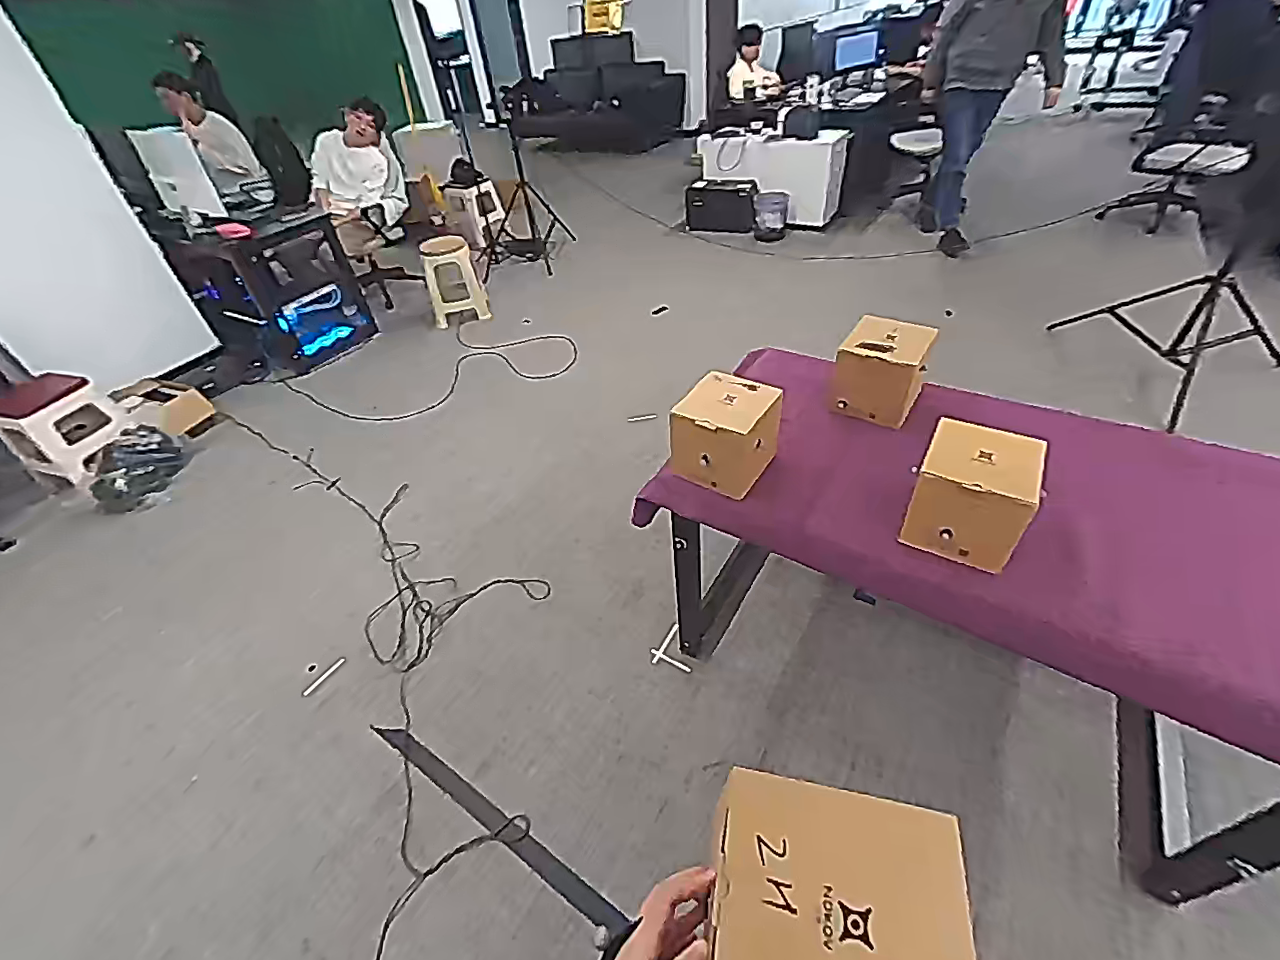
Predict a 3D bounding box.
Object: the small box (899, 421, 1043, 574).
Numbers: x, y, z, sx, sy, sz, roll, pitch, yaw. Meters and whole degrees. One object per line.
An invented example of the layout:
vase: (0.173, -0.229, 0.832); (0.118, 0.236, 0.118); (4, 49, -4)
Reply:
small box: (0.572, 0.028, 0.947); (0.168, 0.176, 0.179); (19, 47, 26)

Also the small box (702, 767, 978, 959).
small box: (0.149, 0.359, 0.443); (0.179, 0.176, 0.168); (7, 51, 10)

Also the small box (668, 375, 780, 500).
small box: (0.176, -0.087, 1.122); (0.168, 0.176, 0.179); (22, 49, 27)

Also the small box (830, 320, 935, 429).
small box: (0.551, -0.242, 1.245); (0.168, 0.176, 0.179); (23, 50, 28)
